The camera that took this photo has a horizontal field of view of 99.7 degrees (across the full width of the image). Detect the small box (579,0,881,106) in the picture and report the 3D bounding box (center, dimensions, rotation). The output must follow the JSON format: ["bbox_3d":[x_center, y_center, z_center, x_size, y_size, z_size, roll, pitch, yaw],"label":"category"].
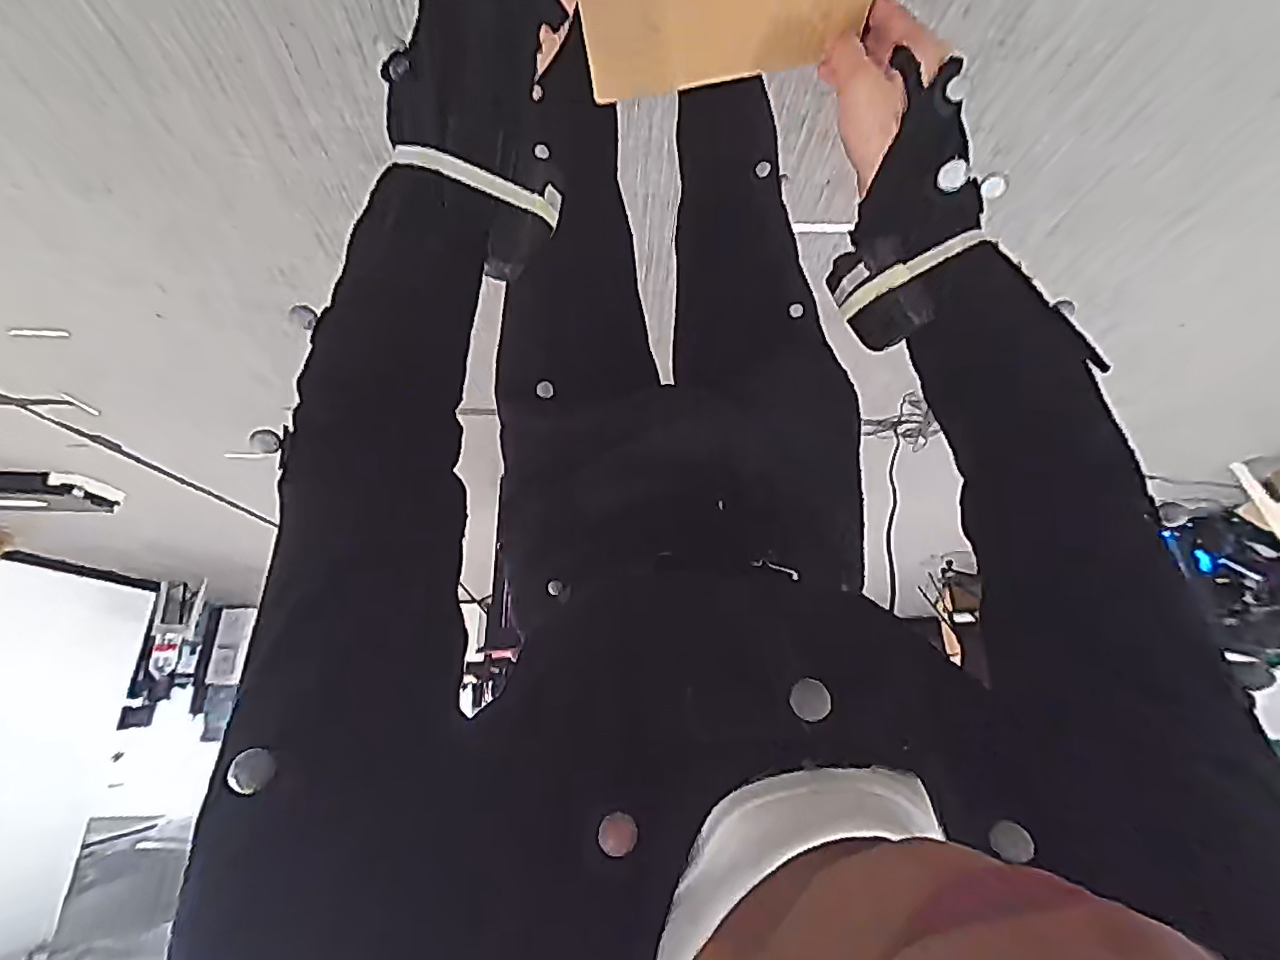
[{"bbox_3d":[0.039,-0.357,0.300,0.179,0.176,0.168,-12,160,0],"label":"small box"}]
